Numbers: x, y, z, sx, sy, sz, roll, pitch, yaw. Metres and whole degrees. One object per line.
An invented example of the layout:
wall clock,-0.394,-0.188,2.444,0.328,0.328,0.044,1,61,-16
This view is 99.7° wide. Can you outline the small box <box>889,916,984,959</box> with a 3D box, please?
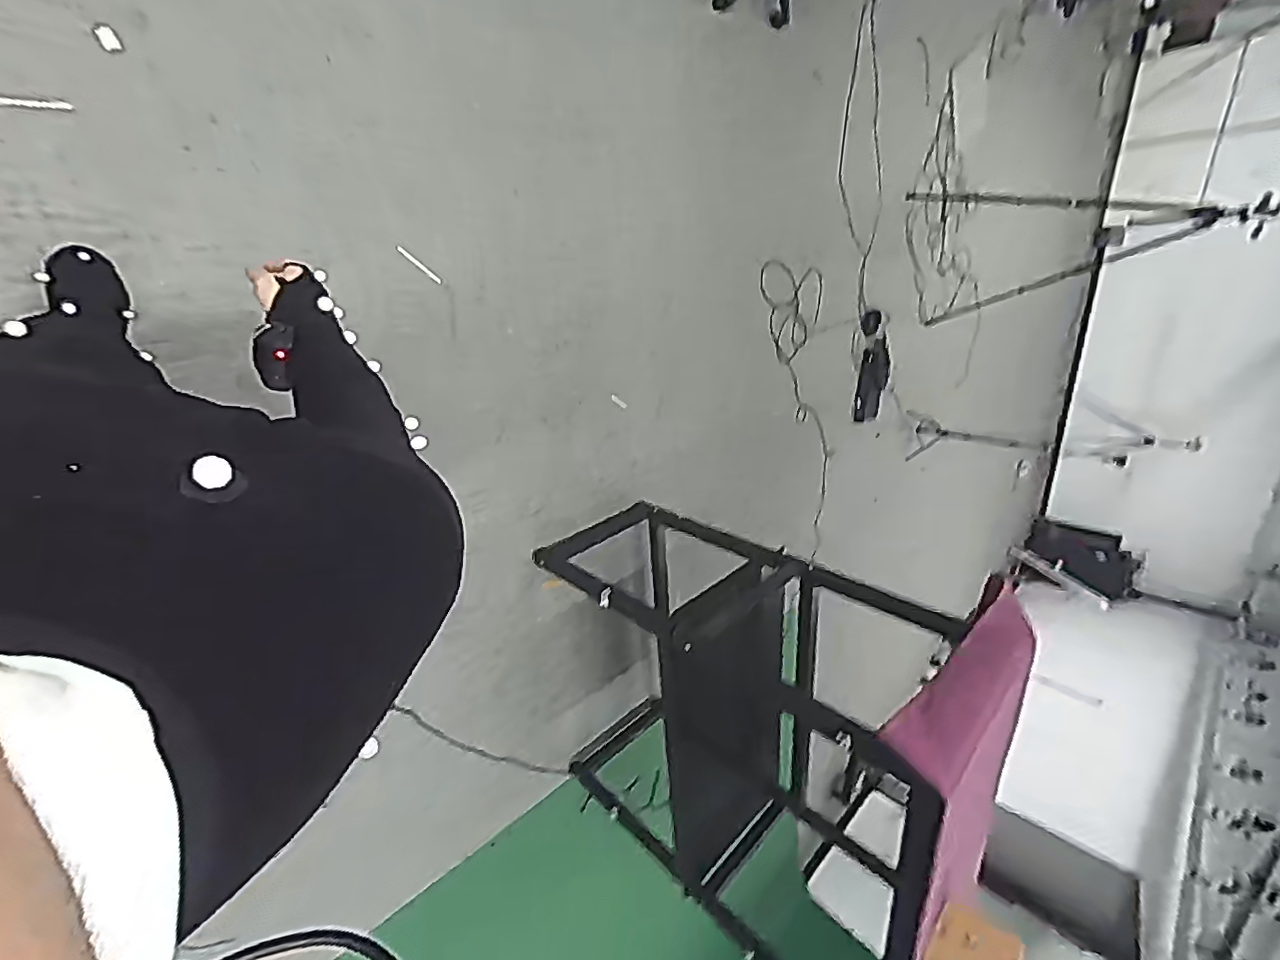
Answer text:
small box,0.703,1.215,1.307,0.168,0.176,0.179,-20,117,-41
